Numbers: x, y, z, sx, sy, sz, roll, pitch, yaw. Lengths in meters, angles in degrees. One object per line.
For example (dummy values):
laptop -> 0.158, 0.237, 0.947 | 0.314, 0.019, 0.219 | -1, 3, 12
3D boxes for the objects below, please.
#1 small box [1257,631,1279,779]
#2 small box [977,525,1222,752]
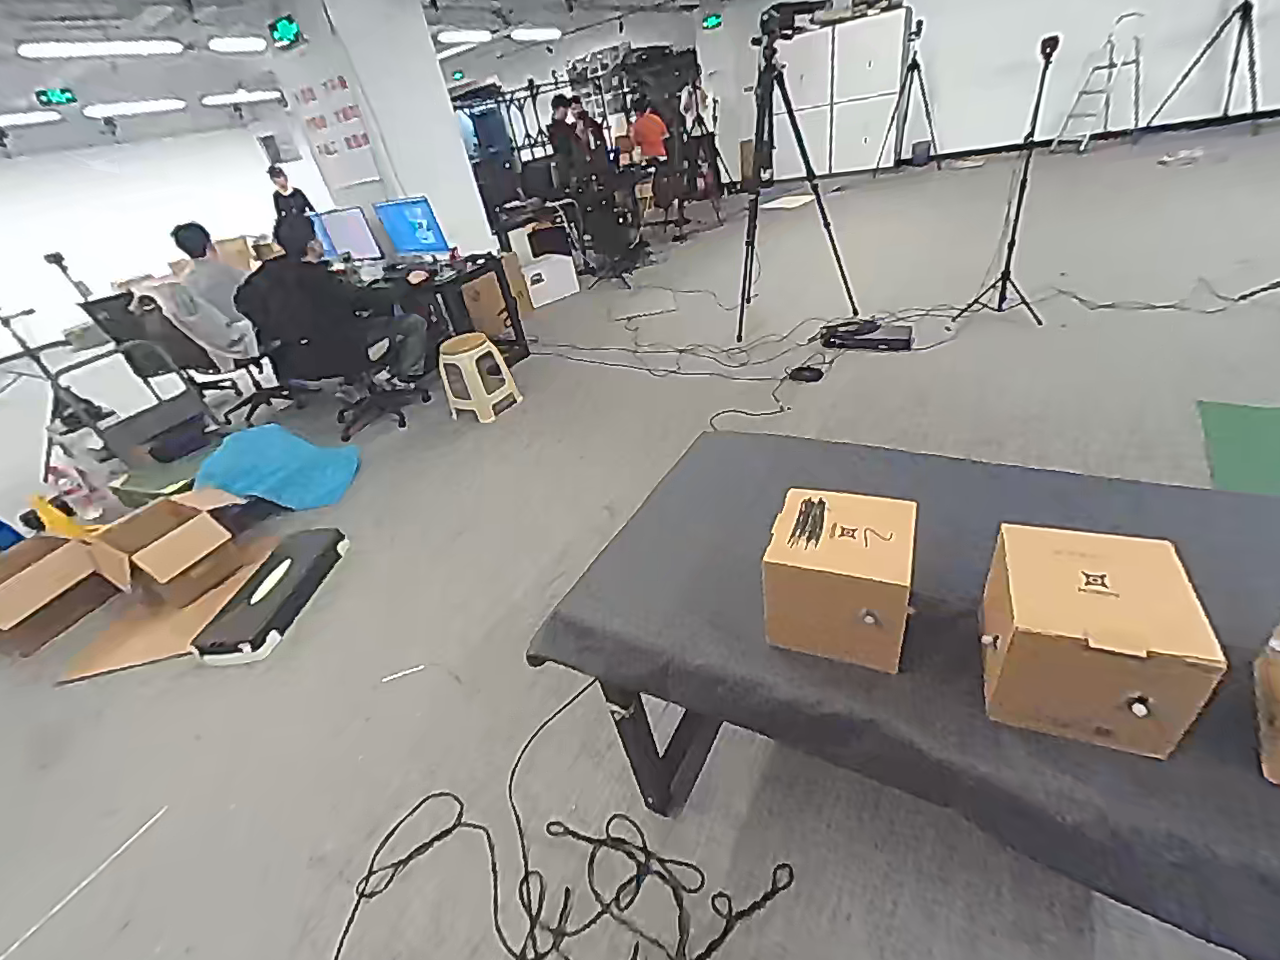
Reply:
small box -> 0.731, 0.215, 0.504 | 0.179, 0.176, 0.168 | 17, 43, 36
small box -> 0.506, 0.179, 0.630 | 0.168, 0.176, 0.179 | 6, 37, 24
